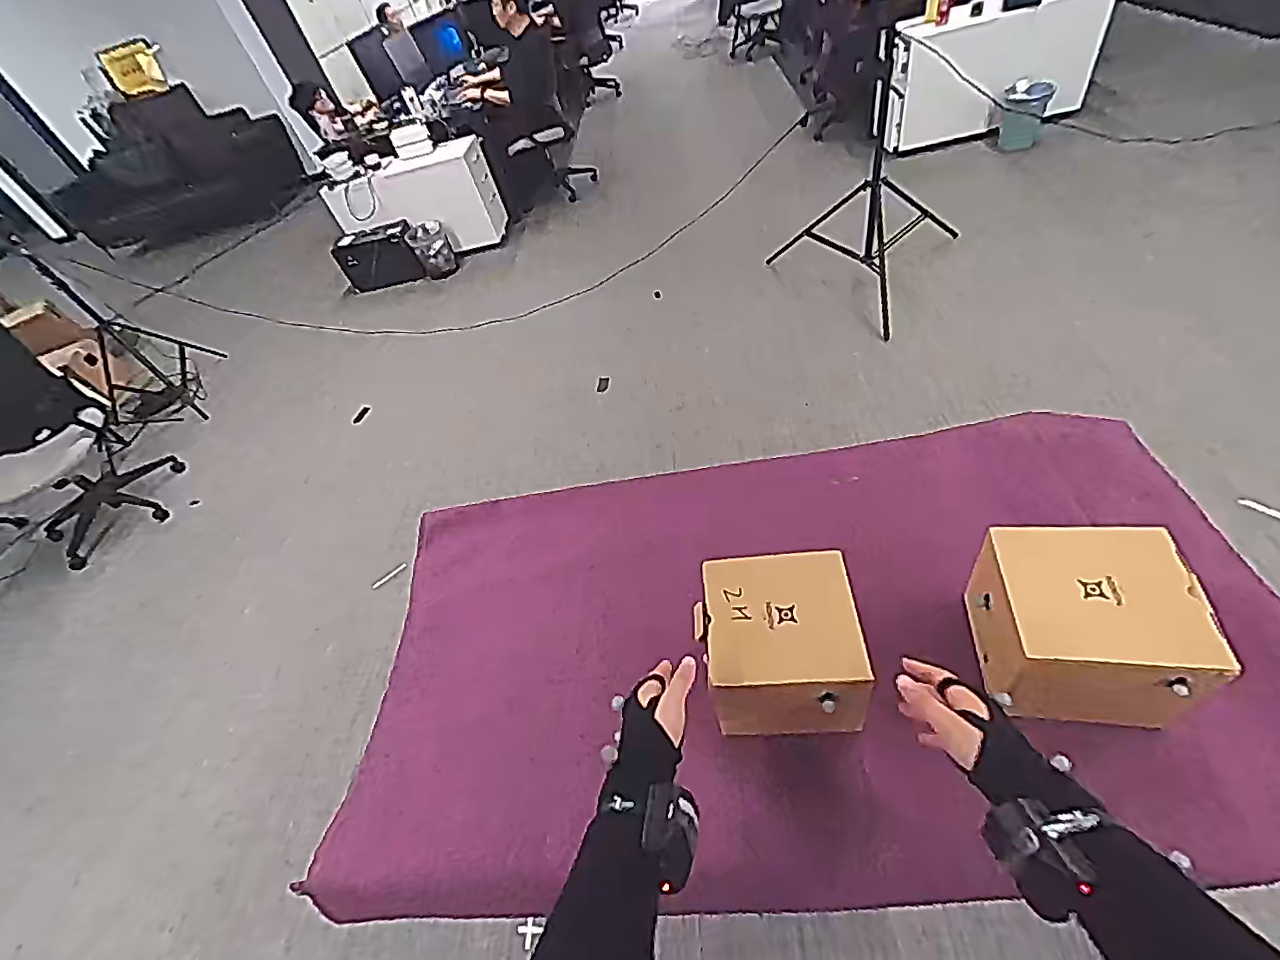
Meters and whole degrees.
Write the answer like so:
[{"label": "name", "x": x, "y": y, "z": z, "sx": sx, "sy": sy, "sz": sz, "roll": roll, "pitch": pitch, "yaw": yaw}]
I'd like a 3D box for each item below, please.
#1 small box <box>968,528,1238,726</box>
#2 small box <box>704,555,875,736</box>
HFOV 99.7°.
[{"label": "small box", "x": 0.503, "y": 0.172, "z": 0.630, "sx": 0.179, "sy": 0.176, "sz": 0.168, "roll": -2, "pitch": 48, "yaw": 16}, {"label": "small box", "x": 0.181, "y": 0.215, "z": 0.690, "sx": 0.179, "sy": 0.176, "sz": 0.168, "roll": -7, "pitch": 47, "yaw": 11}]
